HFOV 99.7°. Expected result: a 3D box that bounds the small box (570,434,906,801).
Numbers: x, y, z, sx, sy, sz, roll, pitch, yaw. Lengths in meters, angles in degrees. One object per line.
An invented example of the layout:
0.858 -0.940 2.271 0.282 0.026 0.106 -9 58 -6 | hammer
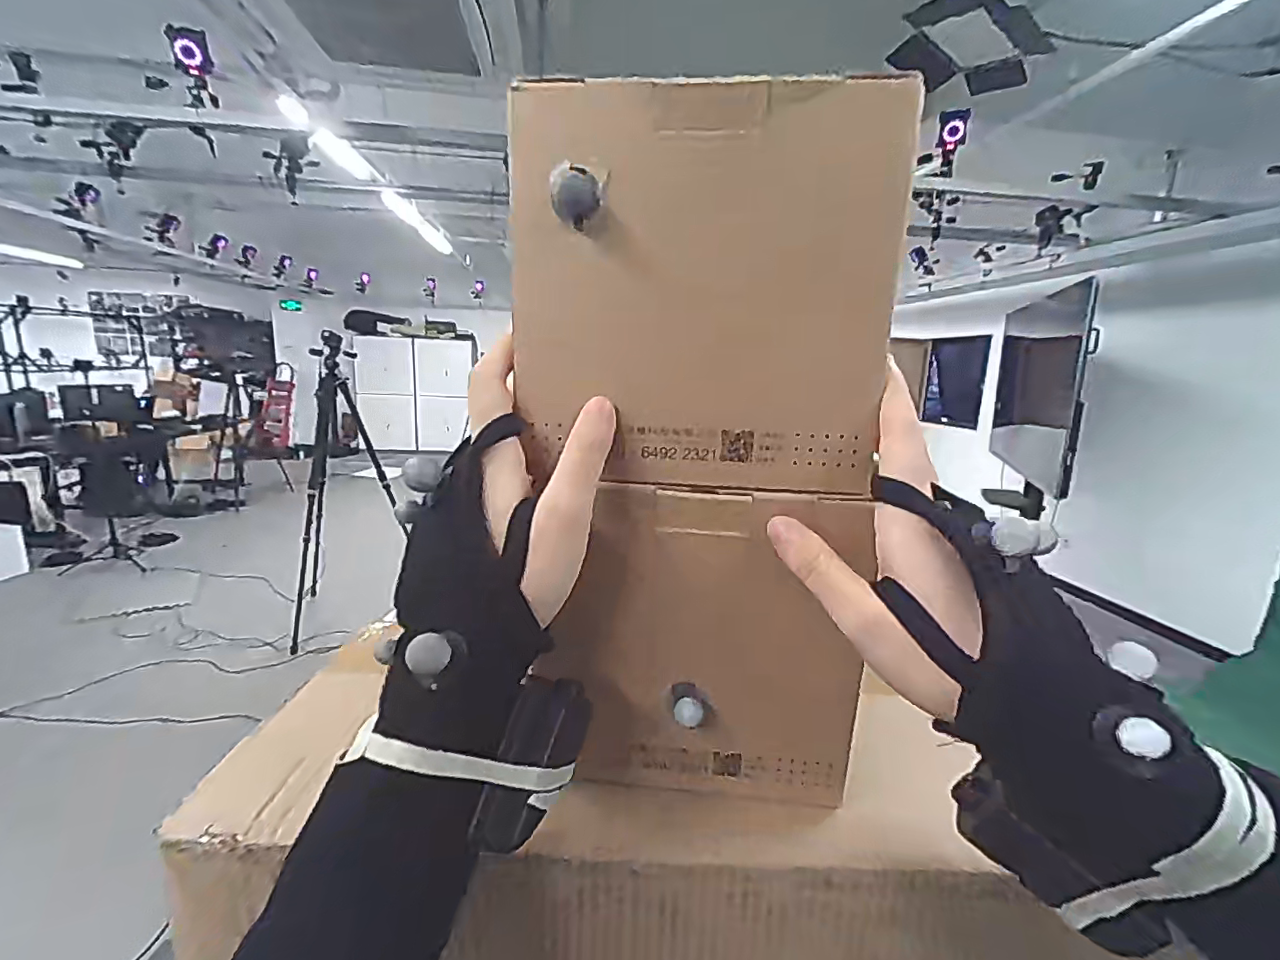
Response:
0.049 0.069 0.359 0.168 0.176 0.179 3 13 4 | small box
